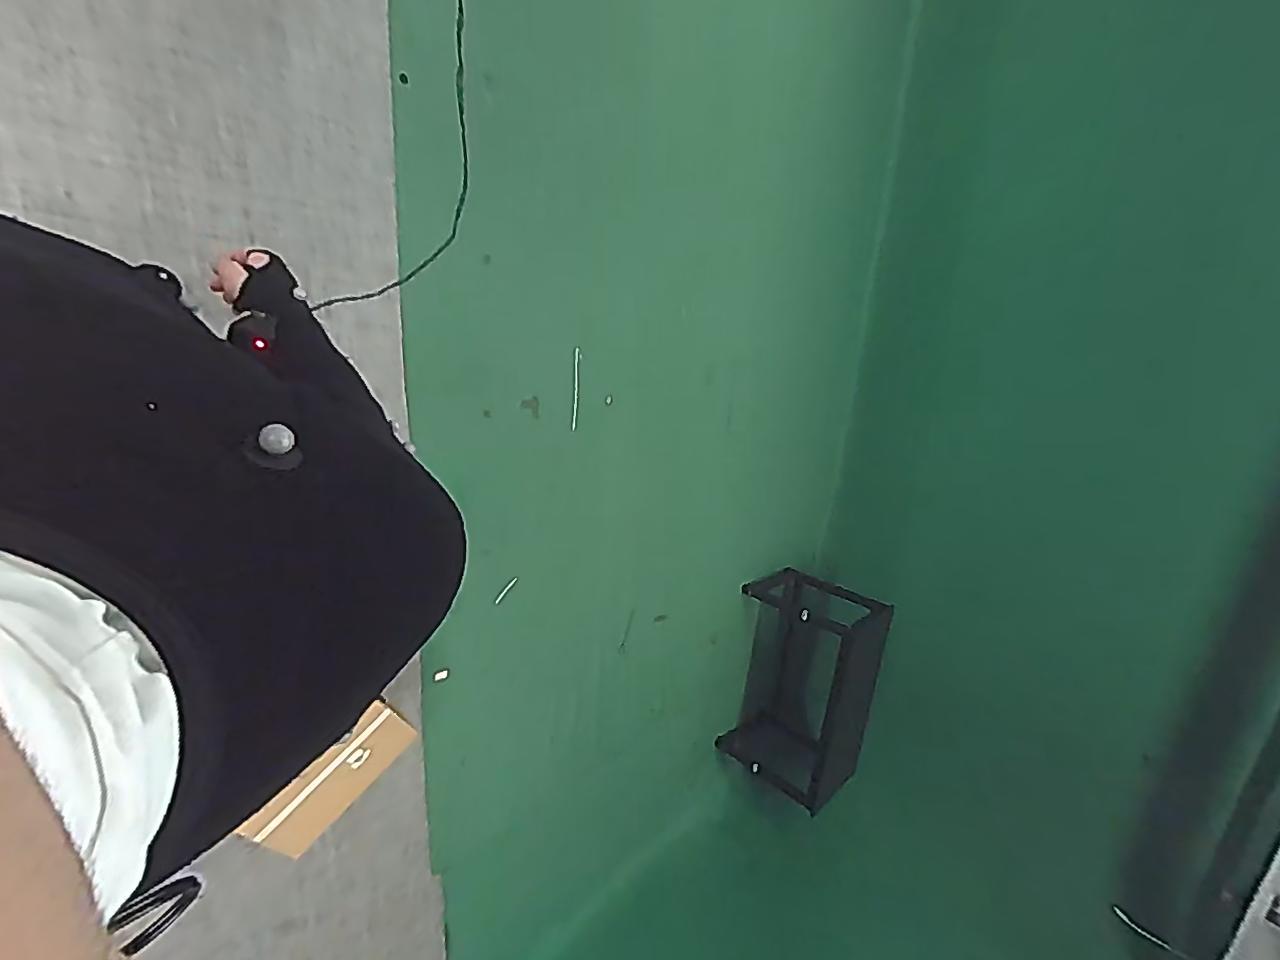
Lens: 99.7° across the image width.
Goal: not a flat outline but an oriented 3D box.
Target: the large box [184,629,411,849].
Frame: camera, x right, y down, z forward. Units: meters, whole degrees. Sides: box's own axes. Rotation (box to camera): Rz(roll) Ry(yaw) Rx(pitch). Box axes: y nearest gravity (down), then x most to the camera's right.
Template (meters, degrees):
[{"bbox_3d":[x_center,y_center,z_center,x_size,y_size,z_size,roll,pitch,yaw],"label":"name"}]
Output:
[{"bbox_3d":[-0.957,0.714,1.532,0.408,0.320,0.320,-46,134,-27],"label":"large box"}]
